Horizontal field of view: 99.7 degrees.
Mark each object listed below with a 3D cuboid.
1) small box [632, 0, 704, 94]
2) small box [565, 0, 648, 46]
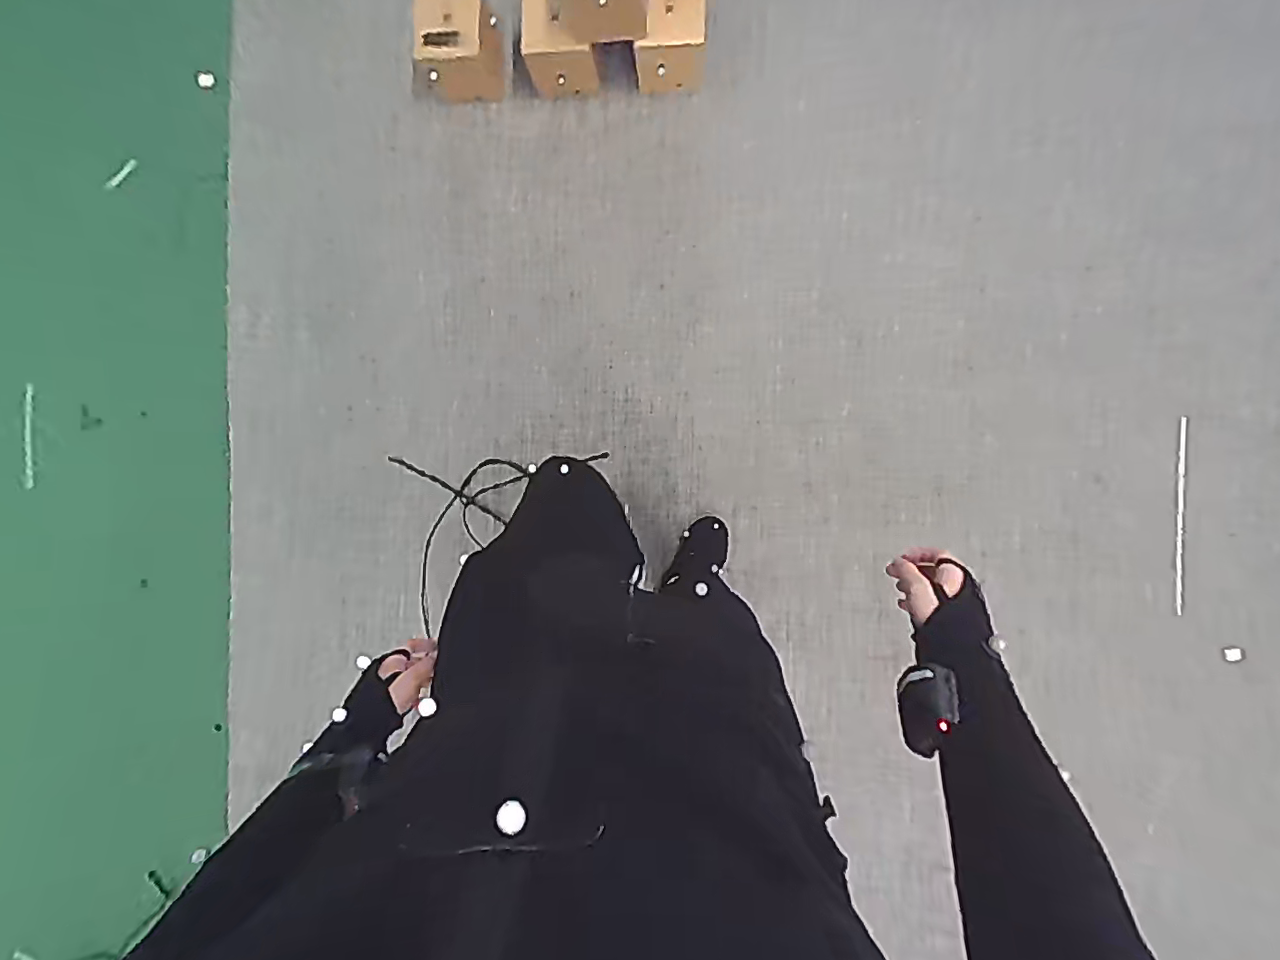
[{"bbox_3d":[0.074,-1.092,1.339,0.168,0.176,0.179,1,91,5],"label":"small box"},{"bbox_3d":[-0.075,-1.099,1.188,0.179,0.176,0.168,-1,91,4],"label":"small box"}]
